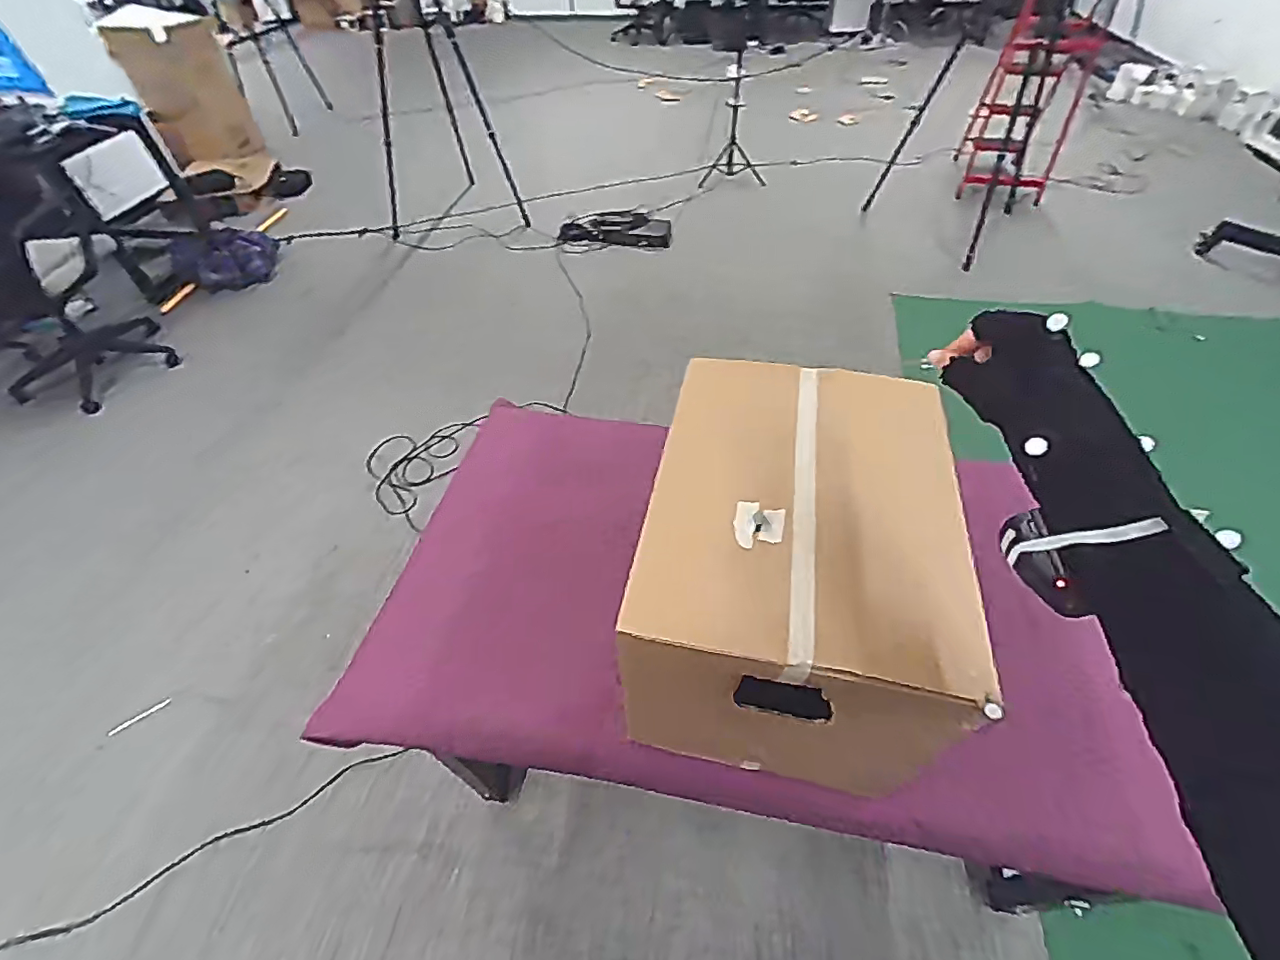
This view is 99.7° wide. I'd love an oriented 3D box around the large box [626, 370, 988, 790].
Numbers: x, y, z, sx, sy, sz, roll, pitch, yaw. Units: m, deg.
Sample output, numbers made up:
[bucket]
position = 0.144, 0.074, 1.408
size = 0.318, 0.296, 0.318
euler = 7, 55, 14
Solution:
[large box]
position = 0.178, 0.116, 0.700
size = 0.320, 0.320, 0.408
euler = 9, 50, 10
